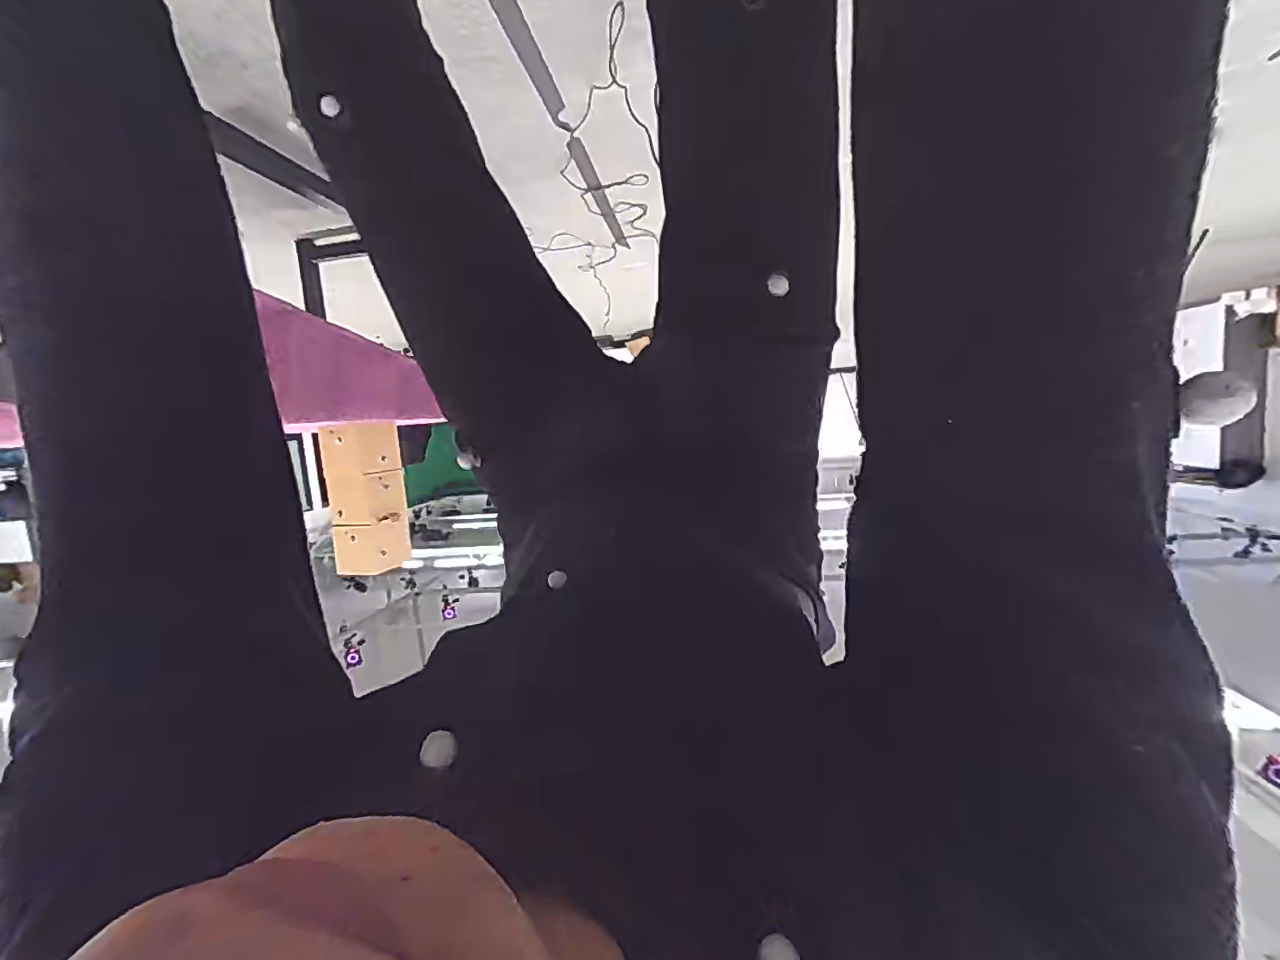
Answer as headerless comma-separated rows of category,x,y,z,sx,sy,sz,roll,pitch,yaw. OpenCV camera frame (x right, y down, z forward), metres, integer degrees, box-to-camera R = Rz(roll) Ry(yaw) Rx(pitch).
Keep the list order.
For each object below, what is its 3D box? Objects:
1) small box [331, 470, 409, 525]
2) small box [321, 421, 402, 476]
small box,-0.923,0.054,1.846,0.179,0.176,0.168,-3,-172,20
small box,-0.933,-0.108,1.817,0.168,0.176,0.179,-3,-174,19
